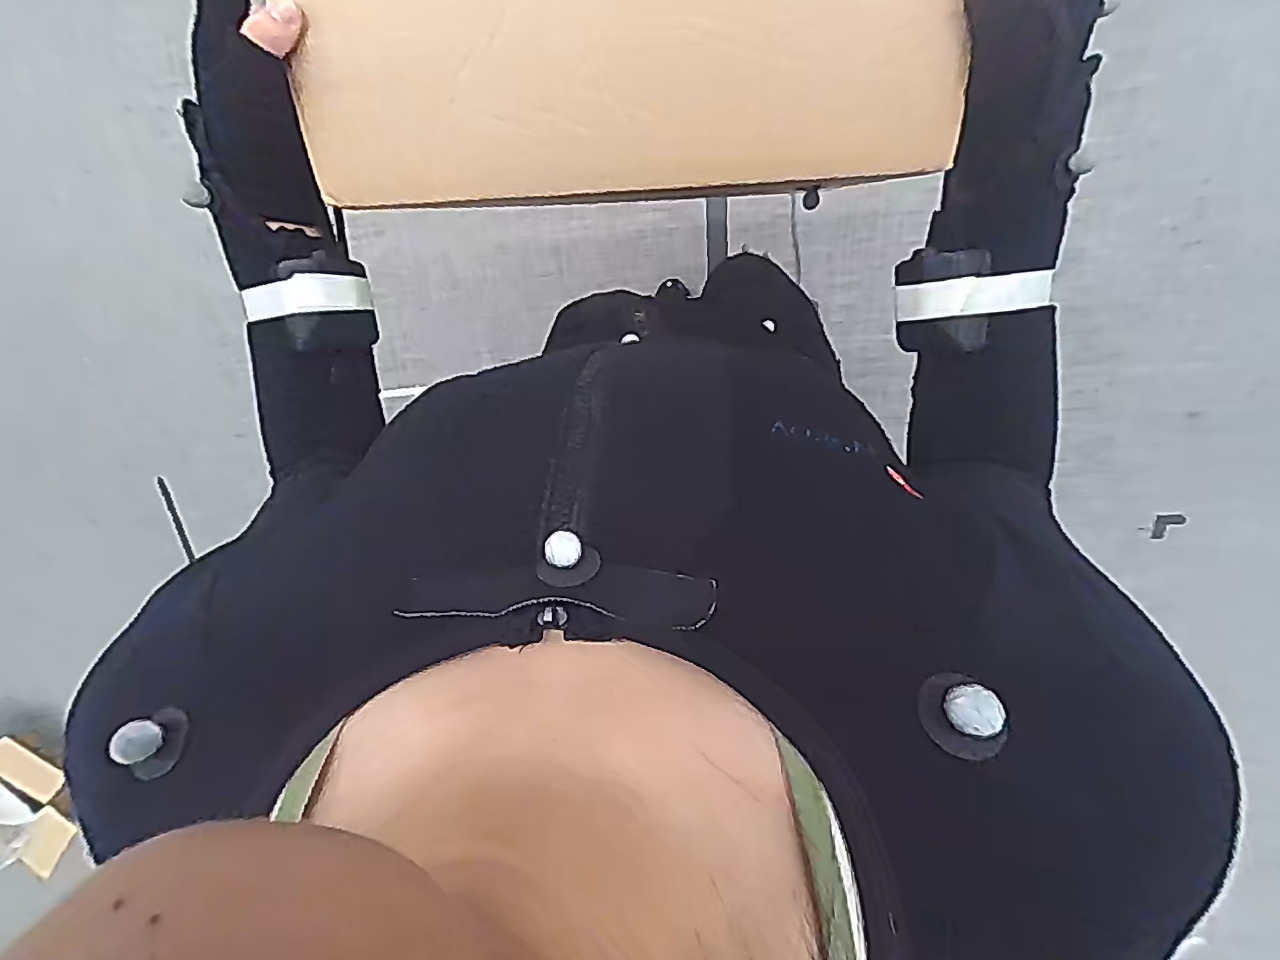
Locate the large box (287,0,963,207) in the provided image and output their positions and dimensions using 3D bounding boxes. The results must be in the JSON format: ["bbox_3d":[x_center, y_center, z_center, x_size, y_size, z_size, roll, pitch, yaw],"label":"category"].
[{"bbox_3d":[-0.005,-0.401,0.423,0.408,0.320,0.320,0,116,6],"label":"large box"}]

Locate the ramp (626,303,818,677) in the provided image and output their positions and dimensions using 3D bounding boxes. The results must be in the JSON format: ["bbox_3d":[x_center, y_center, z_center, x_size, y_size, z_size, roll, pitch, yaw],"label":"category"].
[{"bbox_3d":[0.223,0.056,1.456,0.509,0.206,0.991,-3,108,11],"label":"ramp"}]
